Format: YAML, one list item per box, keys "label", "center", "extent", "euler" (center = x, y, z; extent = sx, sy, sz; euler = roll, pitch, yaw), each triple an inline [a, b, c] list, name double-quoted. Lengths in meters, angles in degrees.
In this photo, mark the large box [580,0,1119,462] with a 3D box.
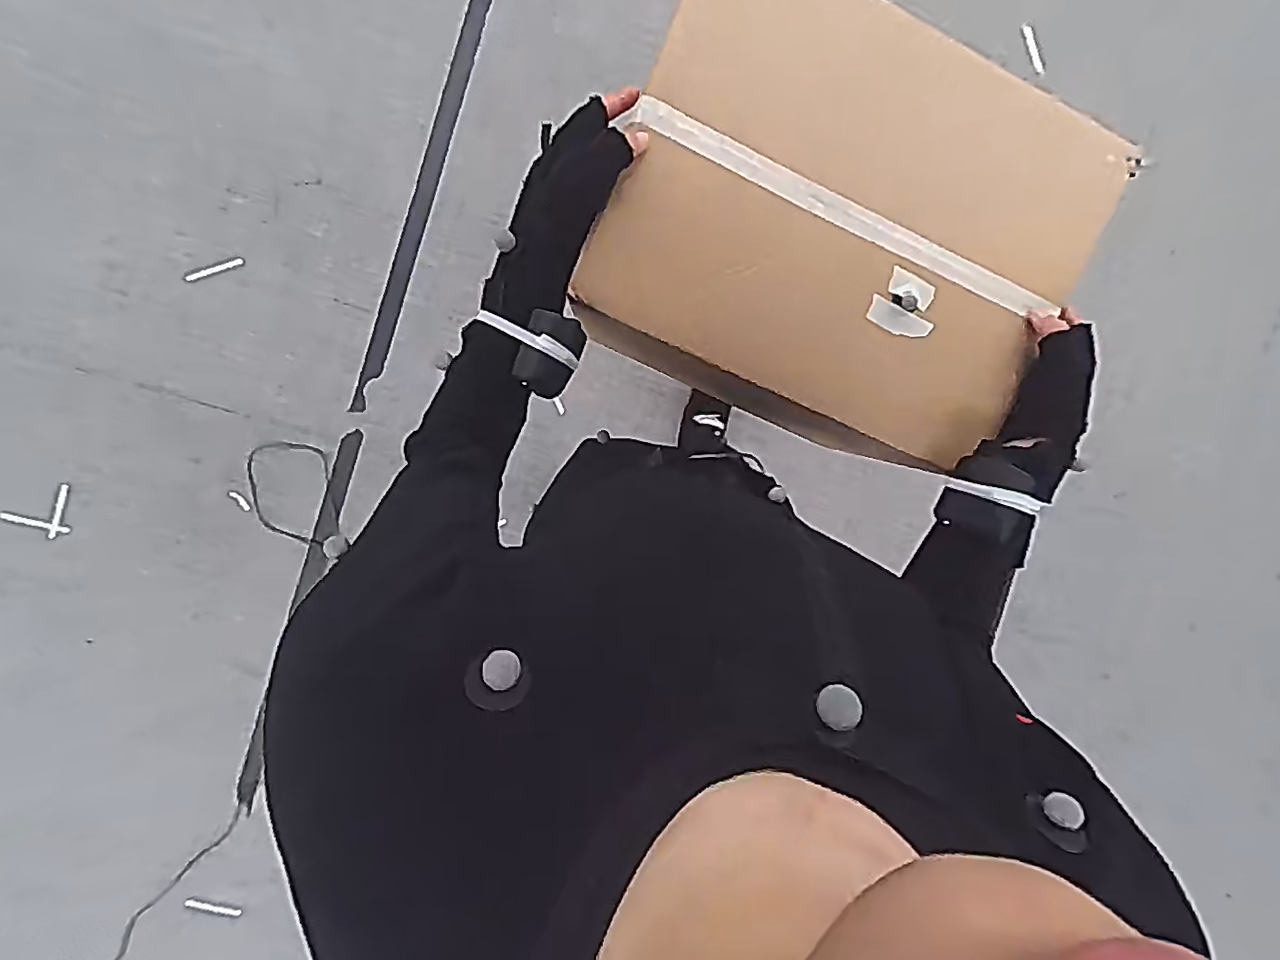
- label: "large box"
  center: [0.172, -0.252, 0.614]
  extent: [0.408, 0.320, 0.320]
  euler: [23, 98, -8]
